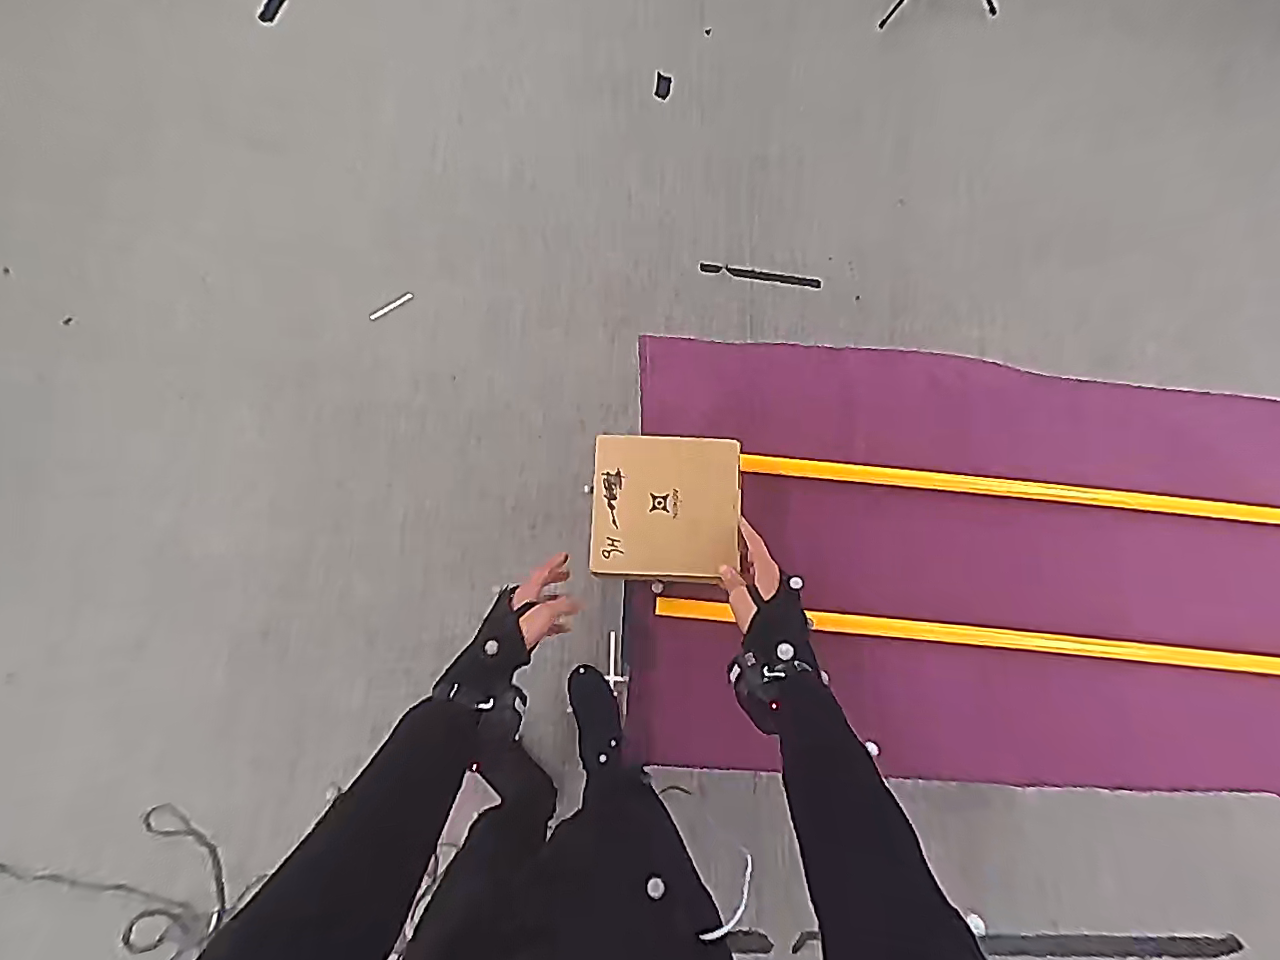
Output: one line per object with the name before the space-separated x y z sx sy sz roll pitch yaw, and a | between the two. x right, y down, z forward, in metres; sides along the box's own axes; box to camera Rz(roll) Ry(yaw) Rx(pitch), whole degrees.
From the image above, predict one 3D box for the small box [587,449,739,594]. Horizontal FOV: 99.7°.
small box | 0.026 0.063 0.719 0.179 0.176 0.168 3 78 -1
